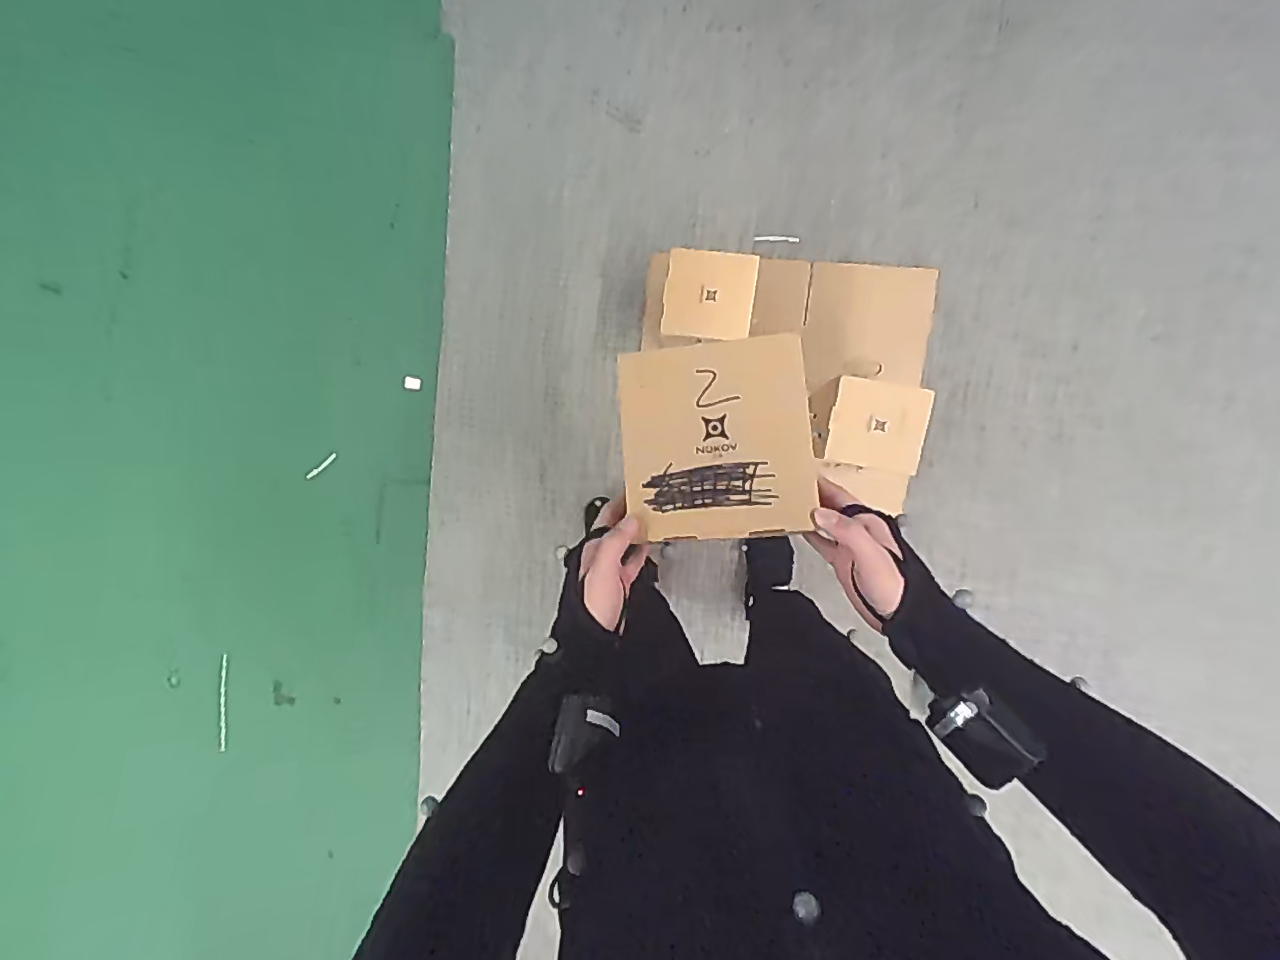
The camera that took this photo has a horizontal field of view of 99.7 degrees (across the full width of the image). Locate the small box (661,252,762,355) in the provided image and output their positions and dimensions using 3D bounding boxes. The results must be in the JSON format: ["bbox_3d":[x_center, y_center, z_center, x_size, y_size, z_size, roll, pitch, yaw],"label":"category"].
[{"bbox_3d":[0.148,-0.358,1.124,0.179,0.176,0.168,8,96,8],"label":"small box"}]

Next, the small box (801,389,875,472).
[{"bbox_3d":[0.489,-0.114,1.259,0.179,0.176,0.168,9,95,8],"label":"small box"}]

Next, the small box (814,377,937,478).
[{"bbox_3d":[0.464,-0.105,1.098,0.179,0.176,0.168,12,97,8],"label":"small box"}]

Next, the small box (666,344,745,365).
[{"bbox_3d":[0.166,-0.371,1.284,0.179,0.176,0.168,8,95,8],"label":"small box"}]
